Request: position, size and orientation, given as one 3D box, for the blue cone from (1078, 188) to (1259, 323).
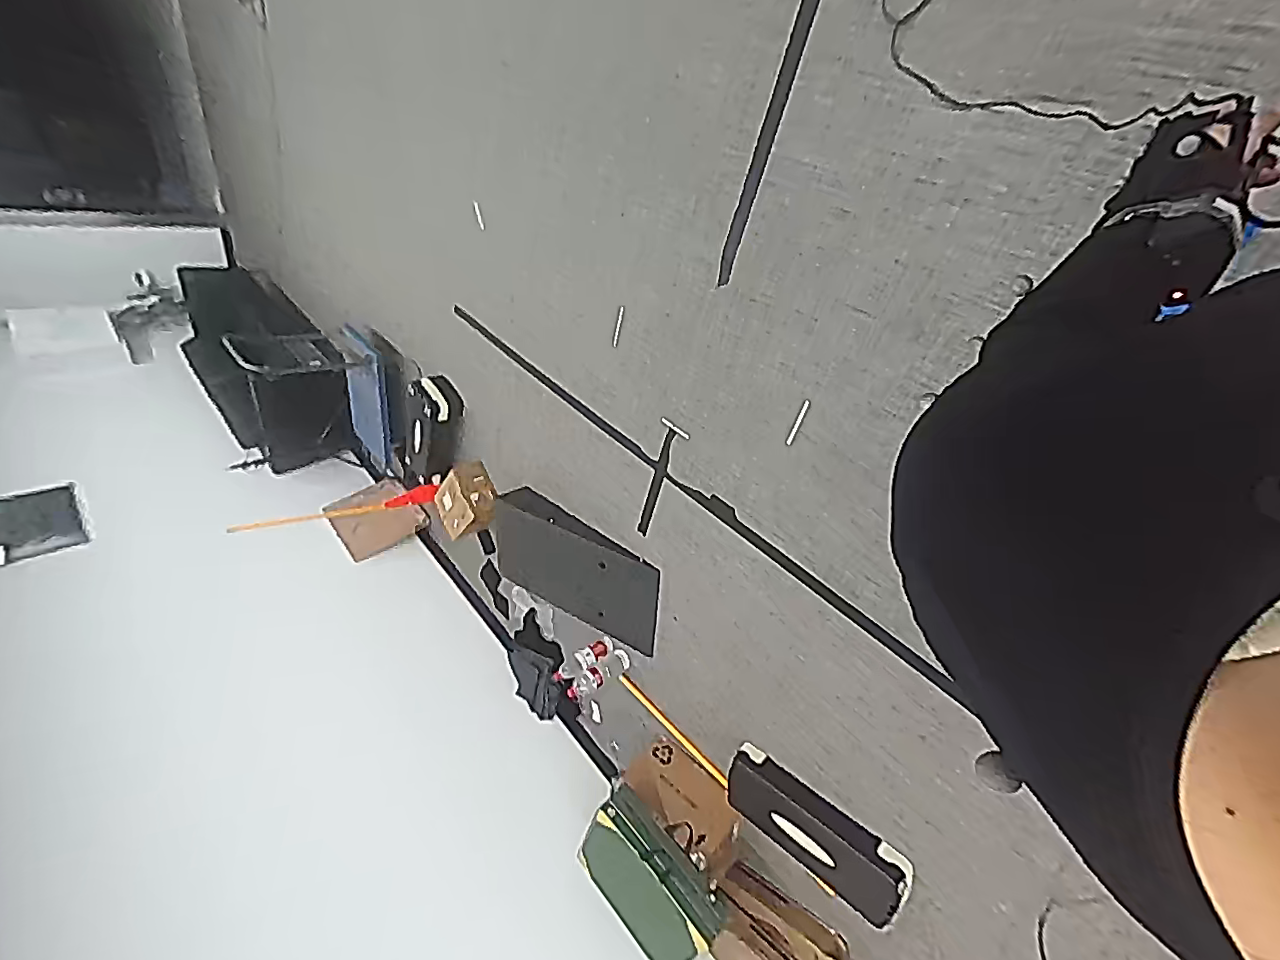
[{"bbox_3d":[0.799,-0.347,0.846,0.192,0.380,0.193,40,132,29],"label":"blue cone"}]
